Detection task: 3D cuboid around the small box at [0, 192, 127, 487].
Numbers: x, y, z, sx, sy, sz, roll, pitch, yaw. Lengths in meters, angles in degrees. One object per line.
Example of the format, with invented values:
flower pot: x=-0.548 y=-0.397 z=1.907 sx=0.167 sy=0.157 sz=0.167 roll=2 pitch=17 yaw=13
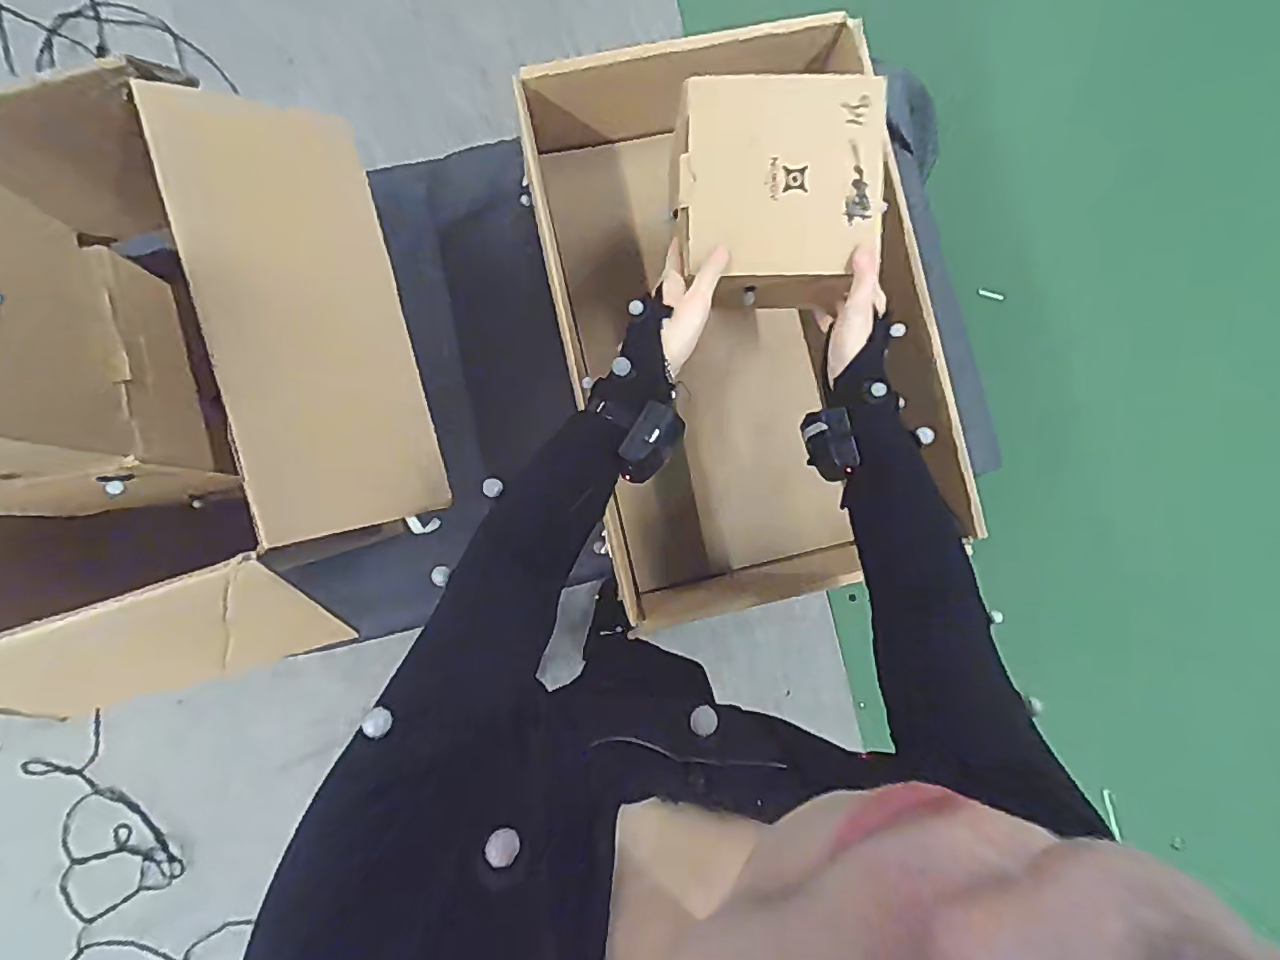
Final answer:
small box: x=-0.450 y=-0.086 z=0.299 sx=0.168 sy=0.176 sz=0.179 roll=-15 pitch=88 yaw=-9
